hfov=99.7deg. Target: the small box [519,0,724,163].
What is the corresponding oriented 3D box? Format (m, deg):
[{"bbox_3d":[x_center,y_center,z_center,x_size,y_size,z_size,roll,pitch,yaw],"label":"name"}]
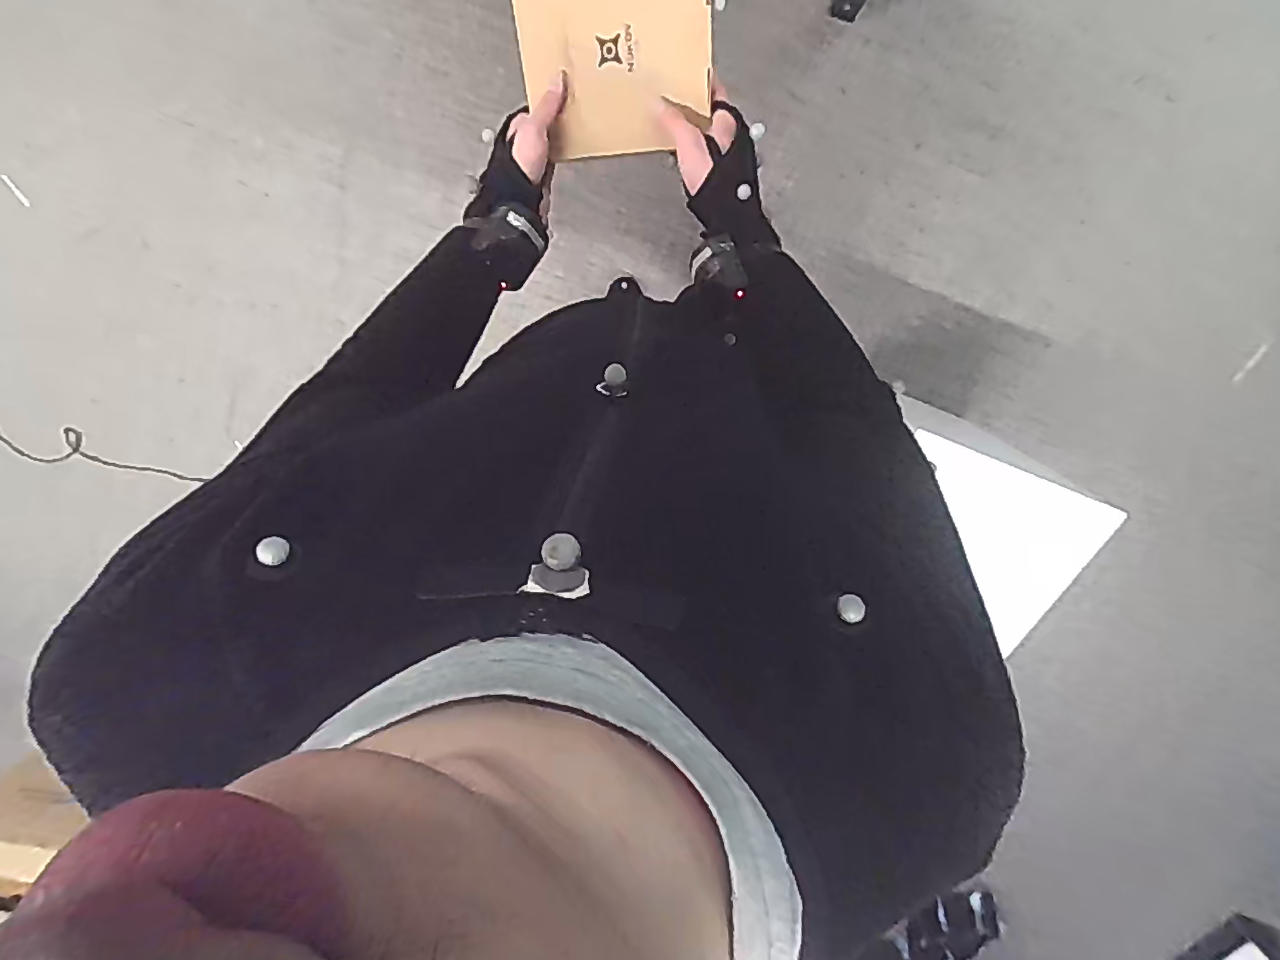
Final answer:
[{"bbox_3d":[-0.008,-0.425,0.547,0.179,0.176,0.168,-2,119,9],"label":"small box"}]
